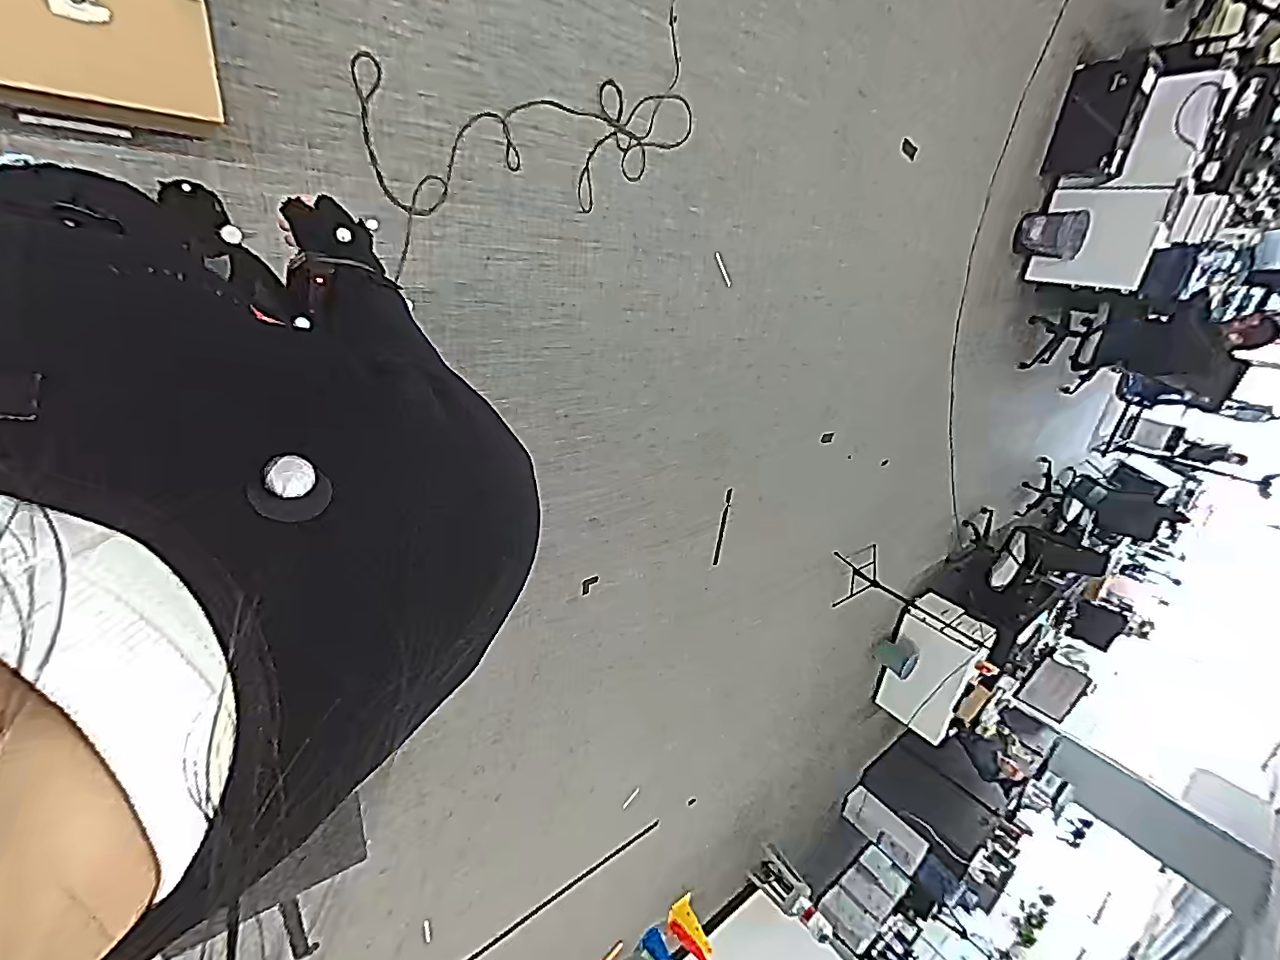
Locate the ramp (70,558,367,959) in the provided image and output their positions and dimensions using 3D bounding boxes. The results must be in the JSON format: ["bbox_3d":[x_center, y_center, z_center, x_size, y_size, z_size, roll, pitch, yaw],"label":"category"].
[{"bbox_3d":[-1.043,0.722,1.423,0.509,0.206,0.991,-12,118,-35],"label":"ramp"}]

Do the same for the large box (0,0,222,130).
[{"bbox_3d":[-0.865,-0.705,0.740,0.408,0.320,0.320,-13,121,-37],"label":"large box"}]
